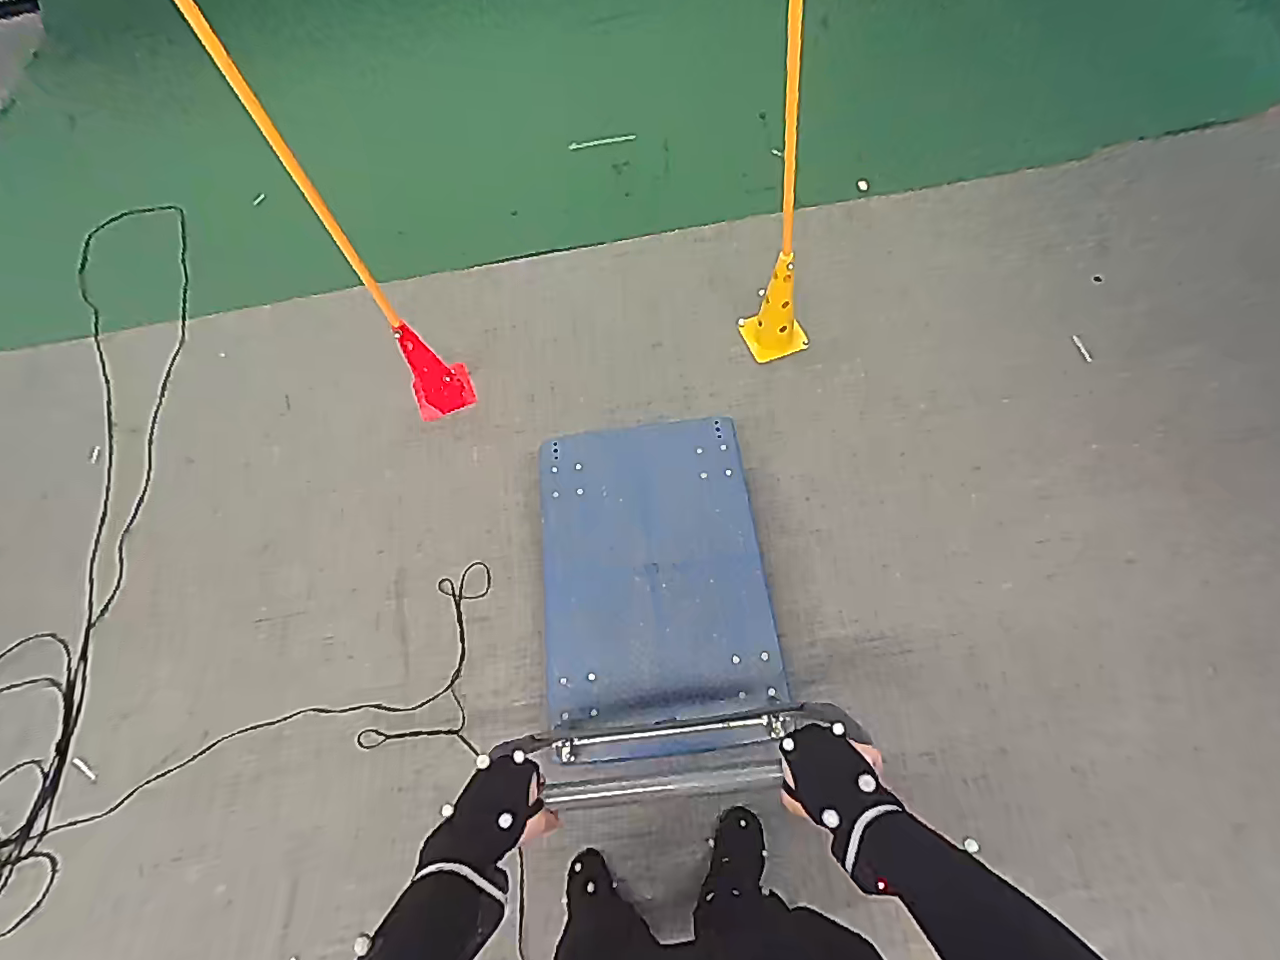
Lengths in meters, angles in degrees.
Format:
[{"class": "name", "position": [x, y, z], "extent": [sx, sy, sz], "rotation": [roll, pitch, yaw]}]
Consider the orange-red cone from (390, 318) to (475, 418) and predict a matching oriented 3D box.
[{"class": "orange-red cone", "position": [-0.714, -0.395, 1.770], "extent": [0.199, 0.360, 0.198], "rotation": [-23, 64, -4]}]
